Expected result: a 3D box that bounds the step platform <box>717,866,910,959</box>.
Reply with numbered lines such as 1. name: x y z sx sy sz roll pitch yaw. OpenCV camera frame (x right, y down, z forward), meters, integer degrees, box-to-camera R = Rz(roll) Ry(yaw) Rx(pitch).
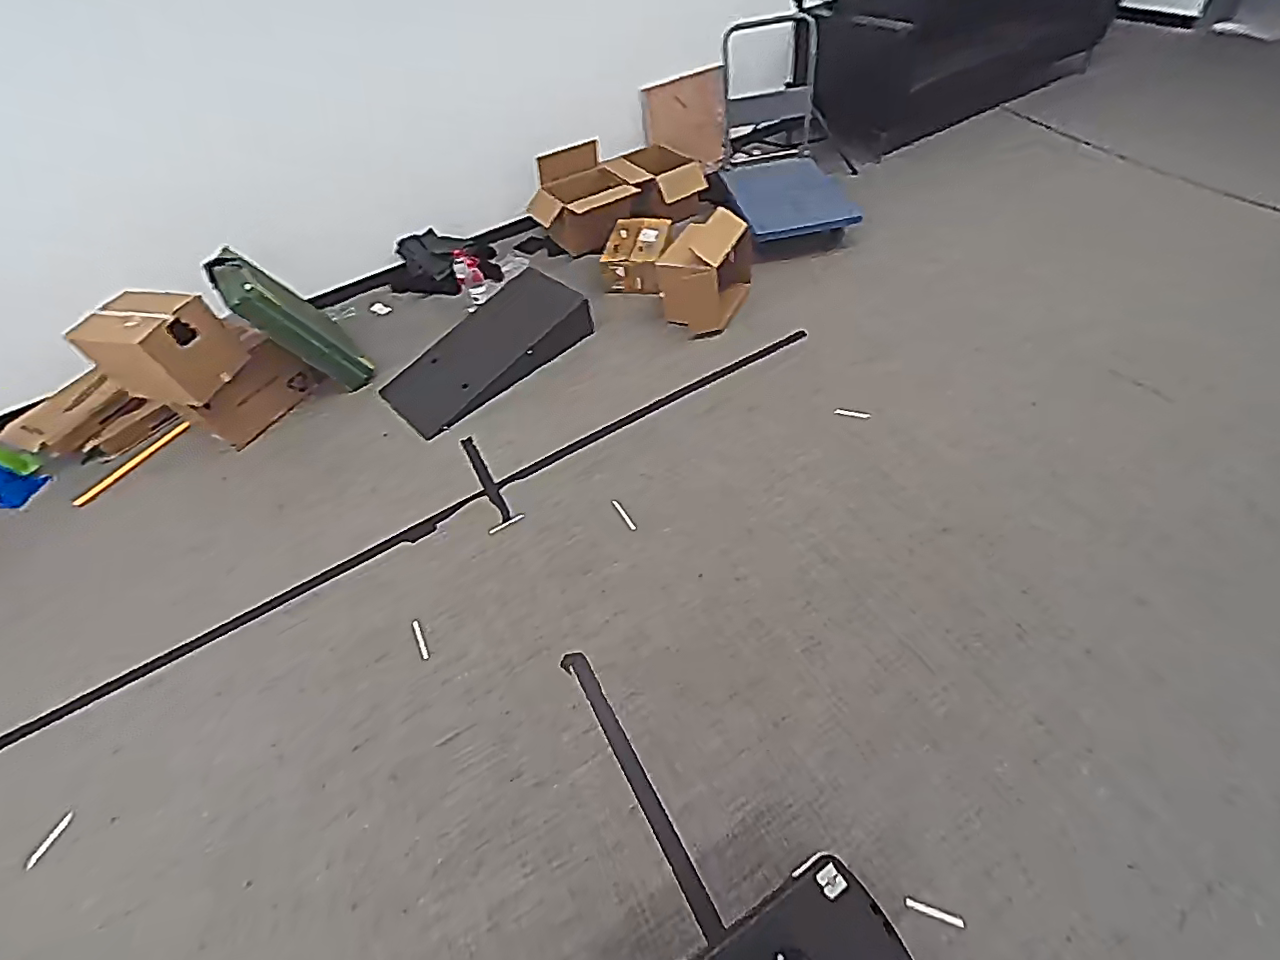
1. step platform: 0.225 1.097 1.052 0.684 0.204 0.286 -28 53 -15
